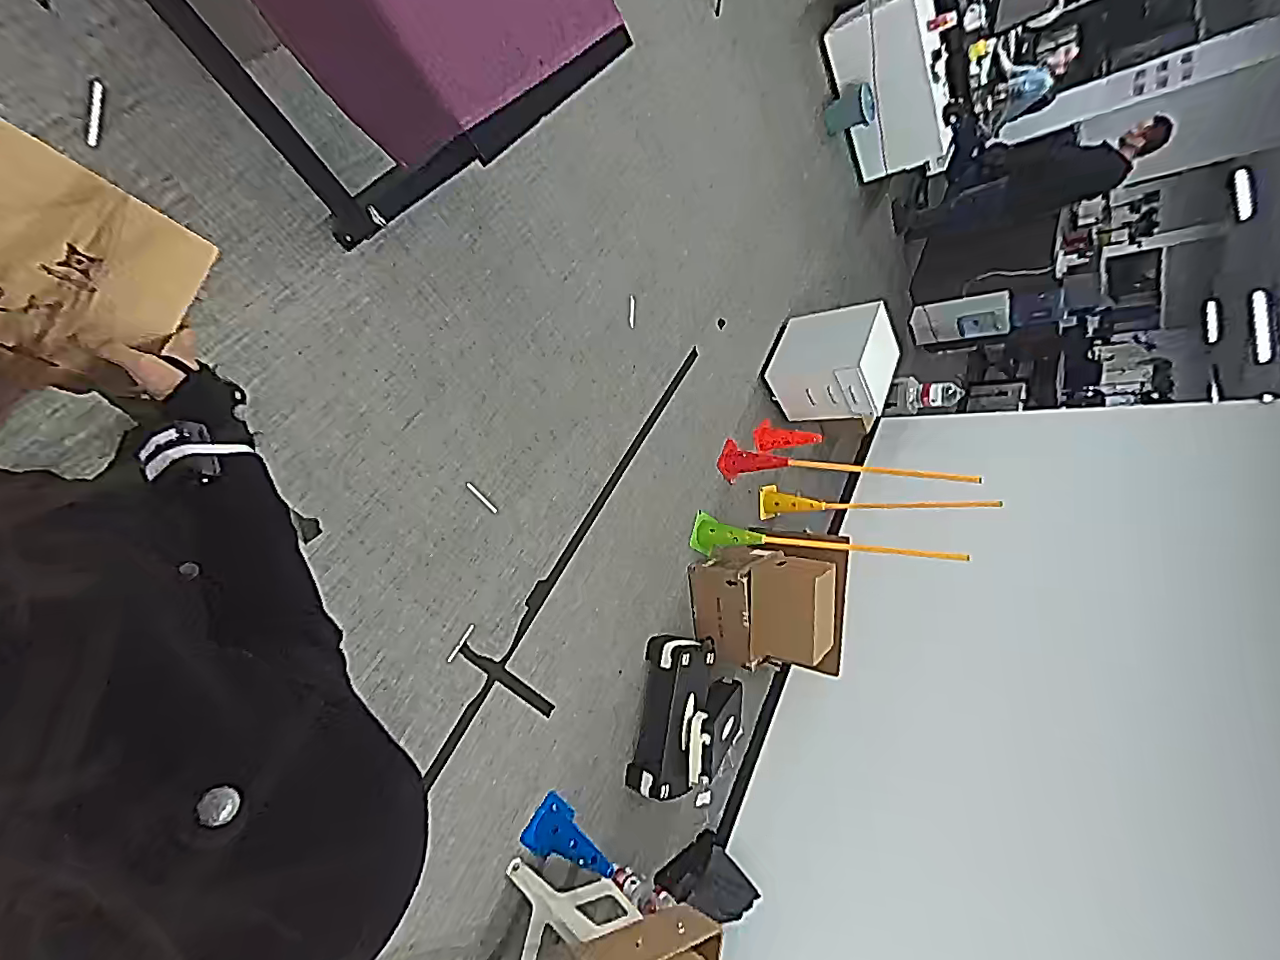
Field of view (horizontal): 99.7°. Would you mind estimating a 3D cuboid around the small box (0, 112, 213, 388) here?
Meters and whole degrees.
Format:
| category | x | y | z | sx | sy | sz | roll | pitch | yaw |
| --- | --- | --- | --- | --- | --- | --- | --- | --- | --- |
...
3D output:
| category | x | y | z | sx | sy | sz | roll | pitch | yaw |
| --- | --- | --- | --- | --- | --- | --- | --- | --- | --- |
| small box | -0.574 | -0.210 | 0.528 | 0.168 | 0.176 | 0.179 | 31 | 76 | -53 |
